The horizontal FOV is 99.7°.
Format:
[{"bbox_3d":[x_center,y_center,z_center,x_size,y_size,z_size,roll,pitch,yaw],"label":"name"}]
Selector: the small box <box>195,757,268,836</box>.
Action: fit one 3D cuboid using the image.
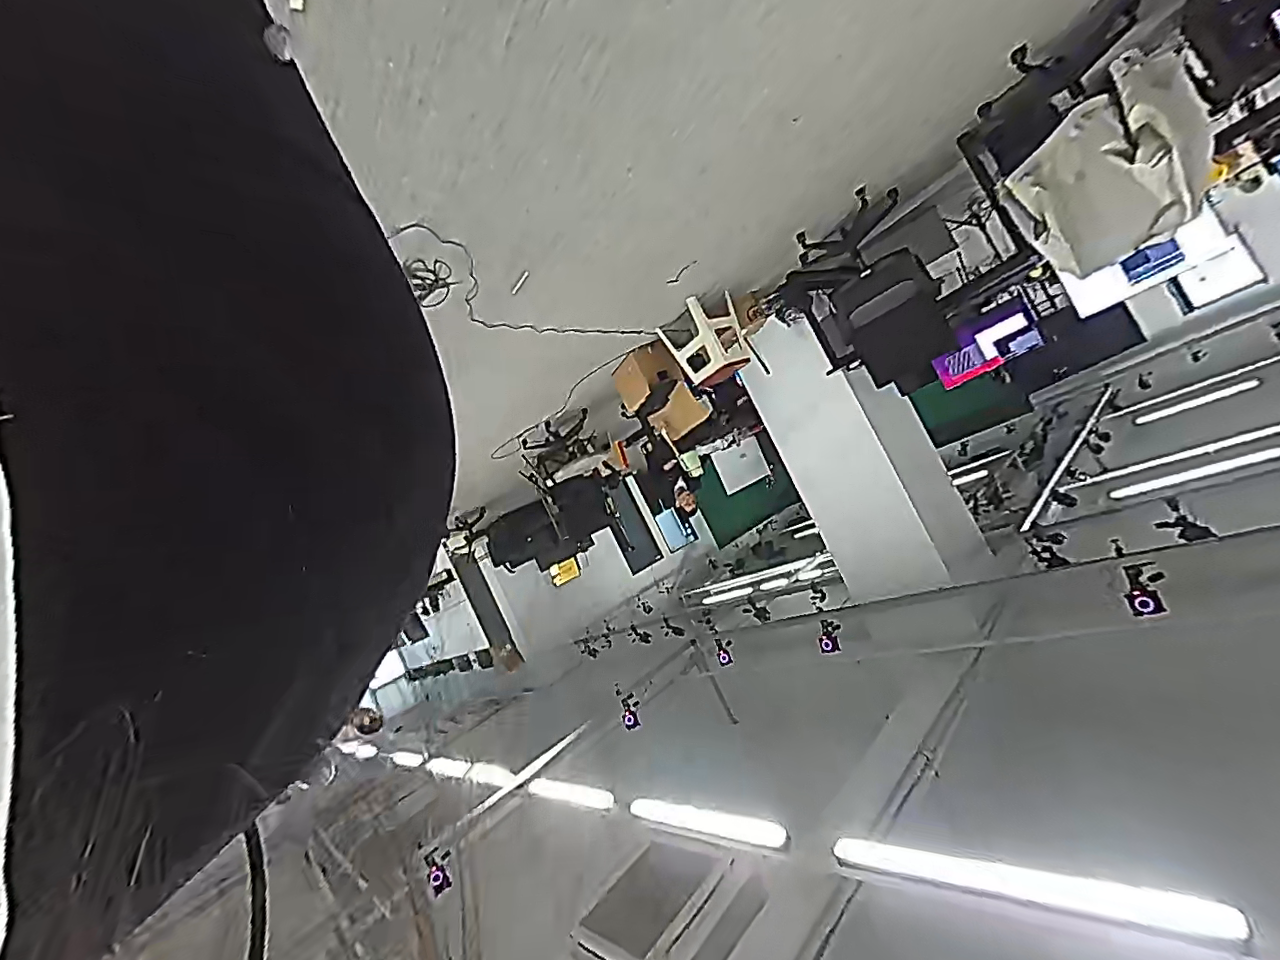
[{"bbox_3d":[-1.475,1.131,1.950,0.179,0.176,0.168,-22,178,-38],"label":"small box"}]
